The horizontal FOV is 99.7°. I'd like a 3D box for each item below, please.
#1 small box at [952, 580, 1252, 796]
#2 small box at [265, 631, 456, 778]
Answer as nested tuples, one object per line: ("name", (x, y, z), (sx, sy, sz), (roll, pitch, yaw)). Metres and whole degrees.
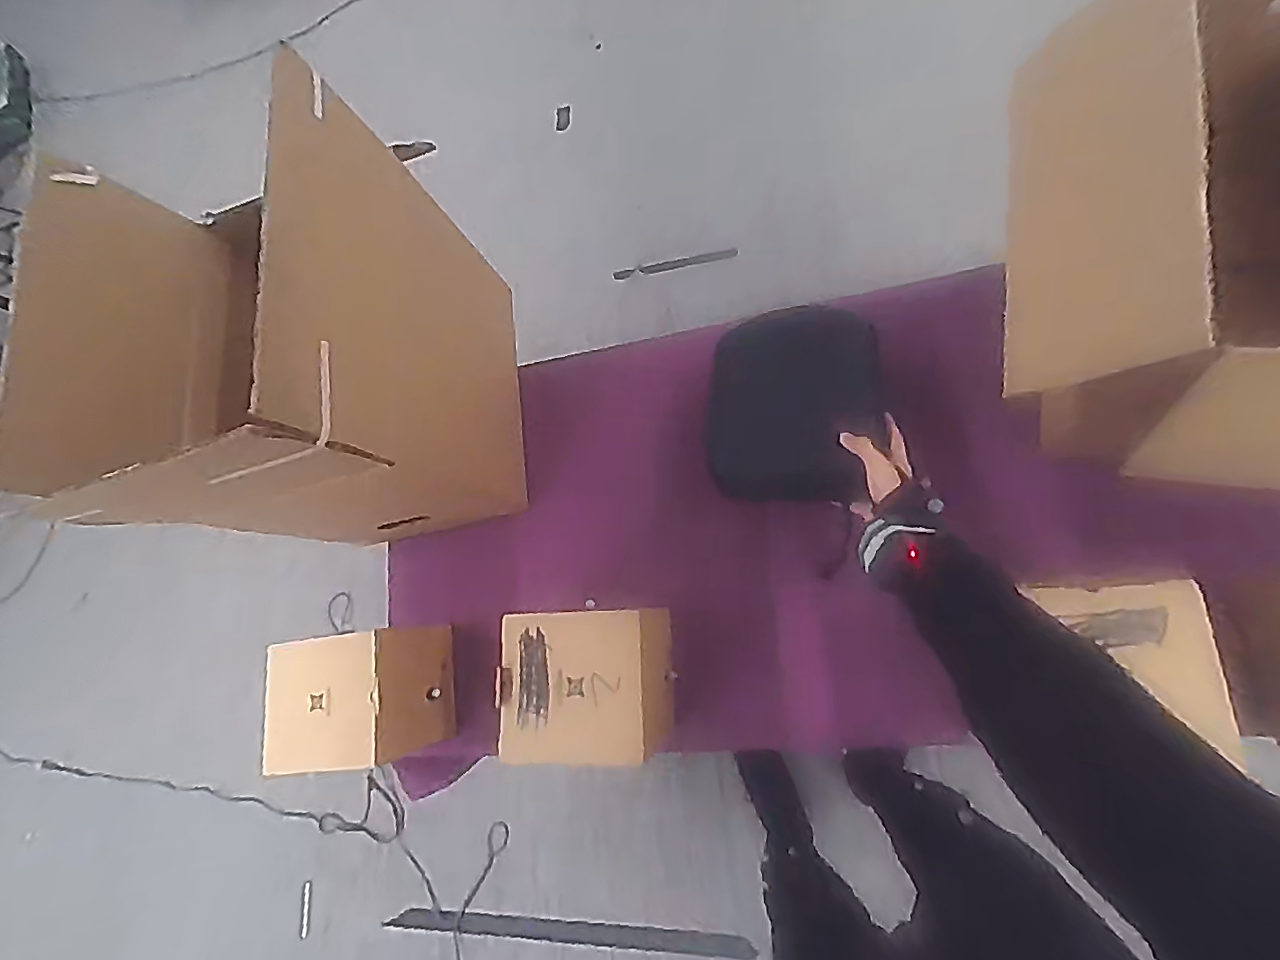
("small box", (0.442, 0.198, 0.557), (0.168, 0.176, 0.179), (-6, 77, 15))
("small box", (-0.388, 0.311, 0.773), (0.179, 0.176, 0.168), (-11, 75, 12))
